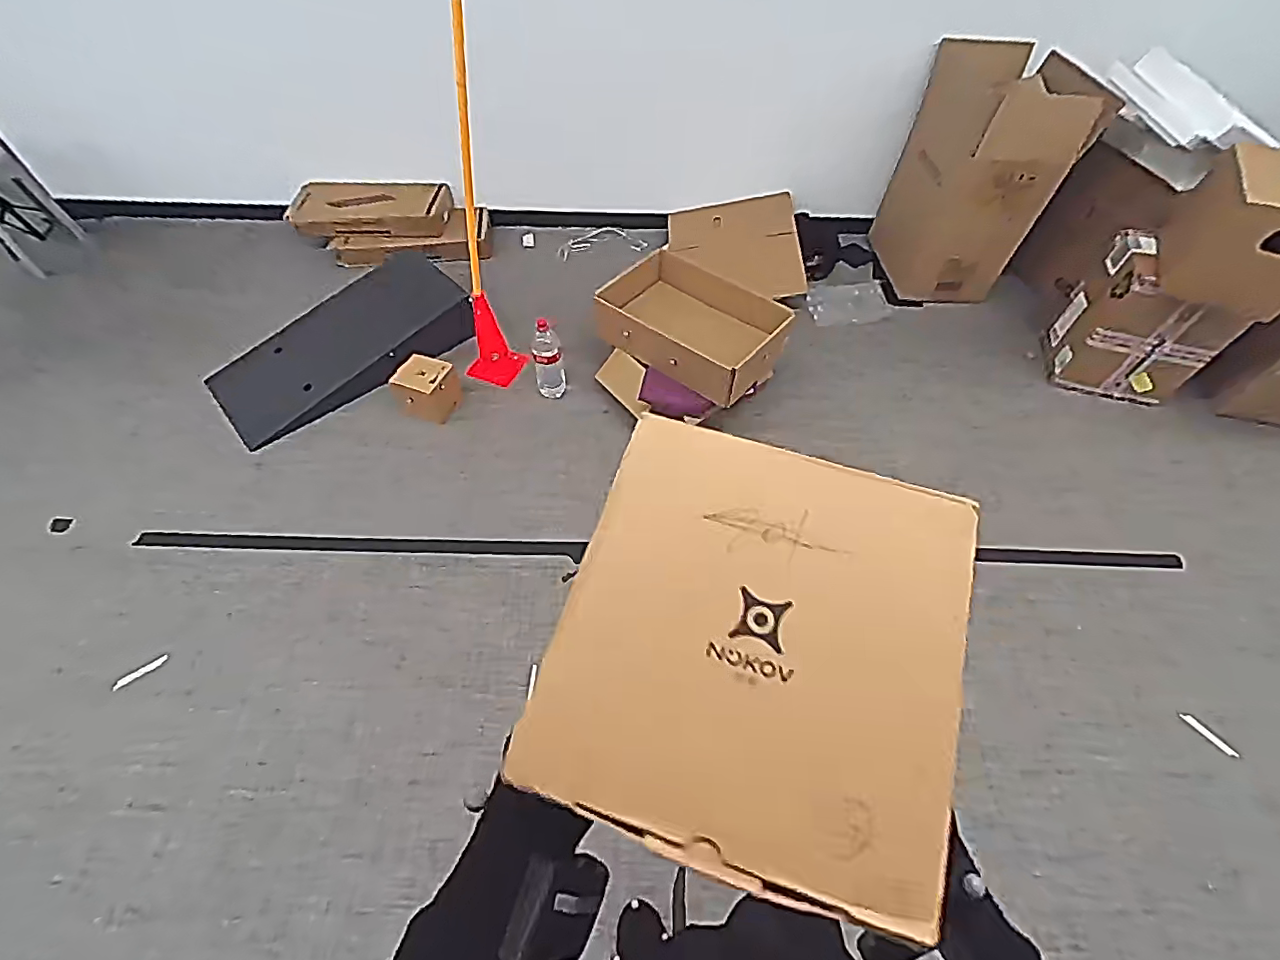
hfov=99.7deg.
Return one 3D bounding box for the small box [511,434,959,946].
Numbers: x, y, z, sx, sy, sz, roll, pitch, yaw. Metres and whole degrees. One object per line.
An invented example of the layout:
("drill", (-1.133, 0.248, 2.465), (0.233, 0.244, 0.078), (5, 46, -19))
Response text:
("small box", (0.051, 0.105, 0.312), (0.168, 0.176, 0.179), (16, 66, 8))
